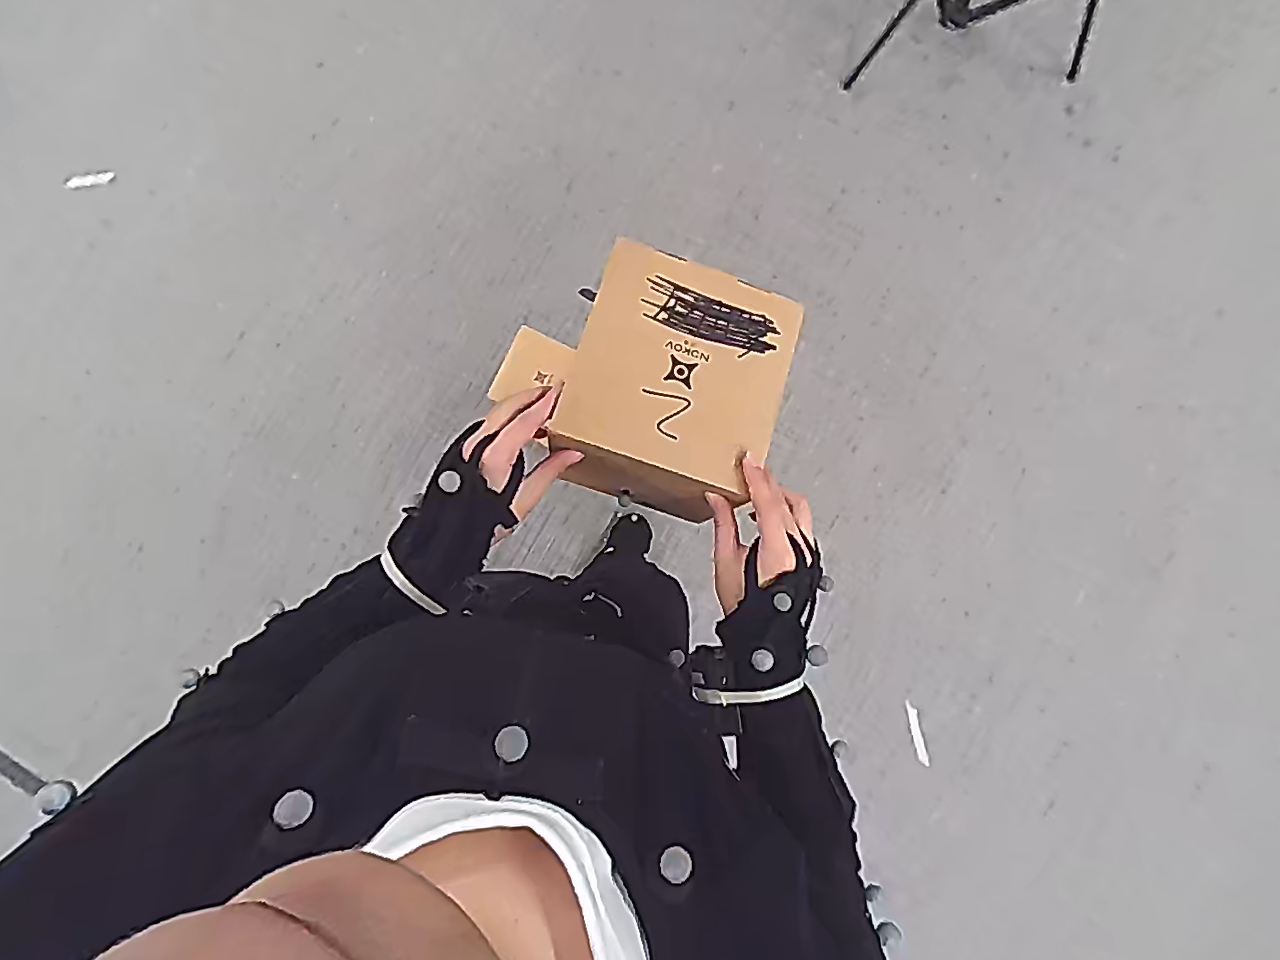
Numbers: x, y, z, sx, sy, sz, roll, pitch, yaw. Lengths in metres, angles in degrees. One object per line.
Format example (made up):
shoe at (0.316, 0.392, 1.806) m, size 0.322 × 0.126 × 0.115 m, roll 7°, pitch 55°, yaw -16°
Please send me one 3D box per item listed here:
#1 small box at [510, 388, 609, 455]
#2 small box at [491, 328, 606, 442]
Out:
small box at (-0.186, -0.176, 1.324) m, size 0.168 × 0.176 × 0.179 m, roll 33°, pitch 88°, yaw 2°
small box at (-0.188, -0.193, 1.162) m, size 0.179 × 0.176 × 0.168 m, roll 26°, pitch 88°, yaw 1°
